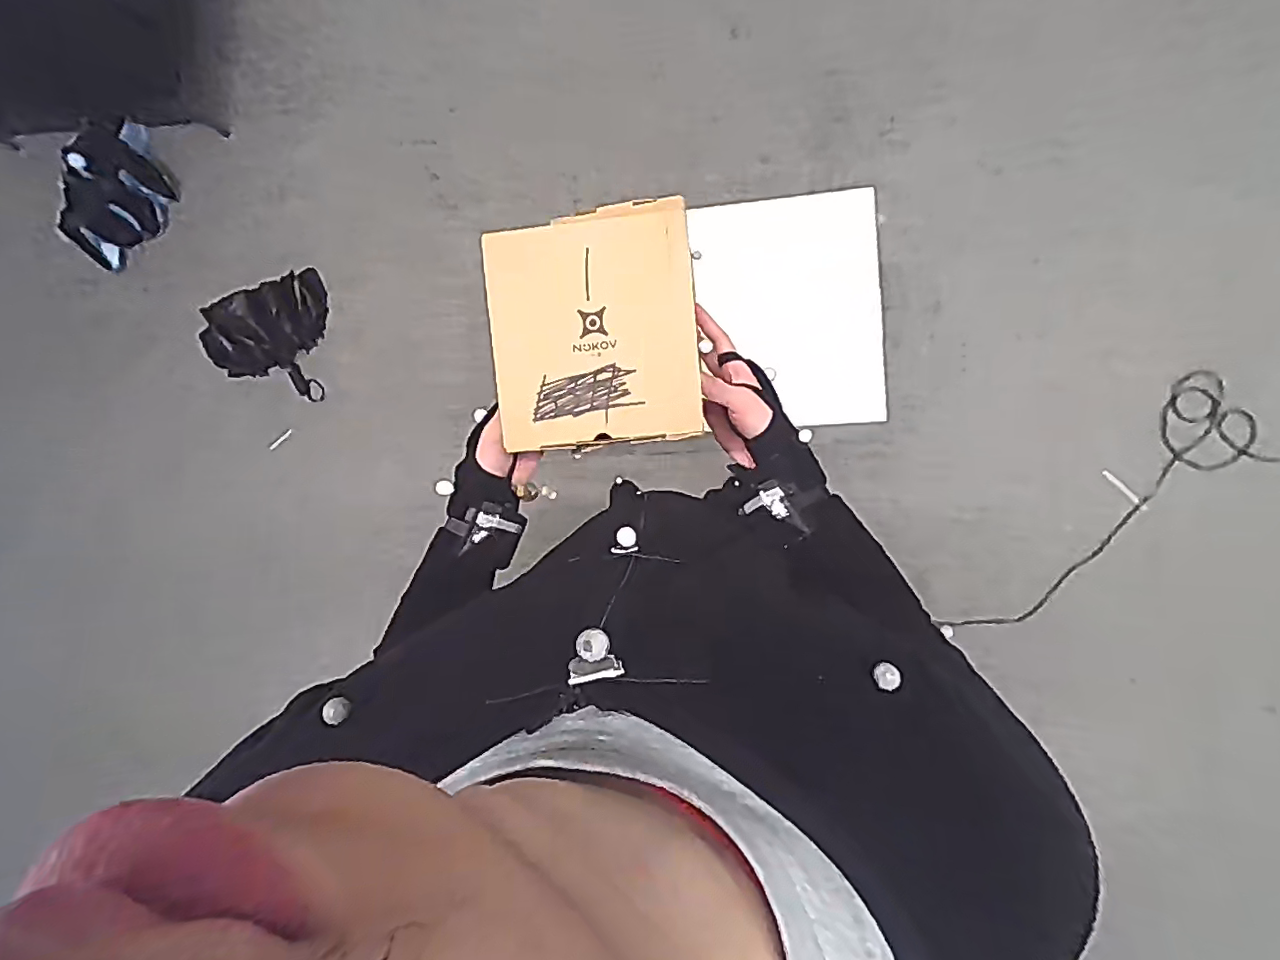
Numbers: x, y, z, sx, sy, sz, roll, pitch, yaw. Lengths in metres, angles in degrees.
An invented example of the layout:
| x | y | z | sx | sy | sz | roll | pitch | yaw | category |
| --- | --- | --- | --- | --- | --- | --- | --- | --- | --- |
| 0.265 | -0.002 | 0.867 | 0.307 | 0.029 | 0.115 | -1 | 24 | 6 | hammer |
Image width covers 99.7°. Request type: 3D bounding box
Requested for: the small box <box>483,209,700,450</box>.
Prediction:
| x | y | z | sx | sy | sz | roll | pitch | yaw | category |
| --- | --- | --- | --- | --- | --- | --- | --- | --- | --- |
| -0.031 | -0.124 | 0.509 | 0.168 | 0.176 | 0.179 | -4 | 94 | 6 | small box |

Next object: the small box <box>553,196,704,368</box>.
| x | y | z | sx | sy | sz | roll | pitch | yaw | category |
| --- | --- | --- | --- | --- | --- | --- | --- | --- | --- |
| -0.006 | -0.240 | 0.723 | 0.168 | 0.176 | 0.179 | -7 | 90 | 9 | small box |
